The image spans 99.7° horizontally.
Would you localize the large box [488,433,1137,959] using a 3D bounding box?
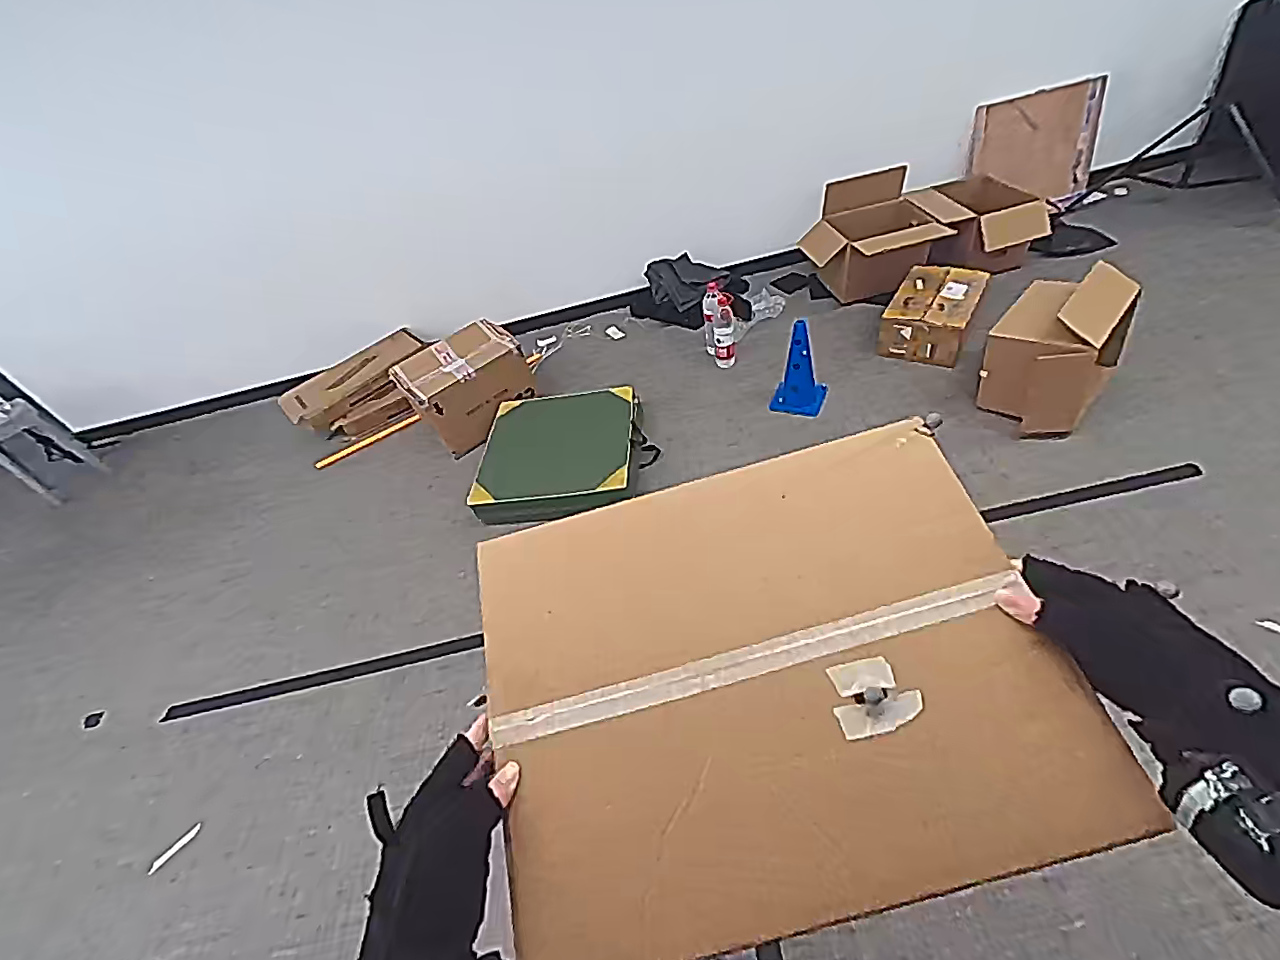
[{"bbox_3d":[0.109,0.212,0.541,0.408,0.320,0.320,-17,61,0],"label":"large box"}]
